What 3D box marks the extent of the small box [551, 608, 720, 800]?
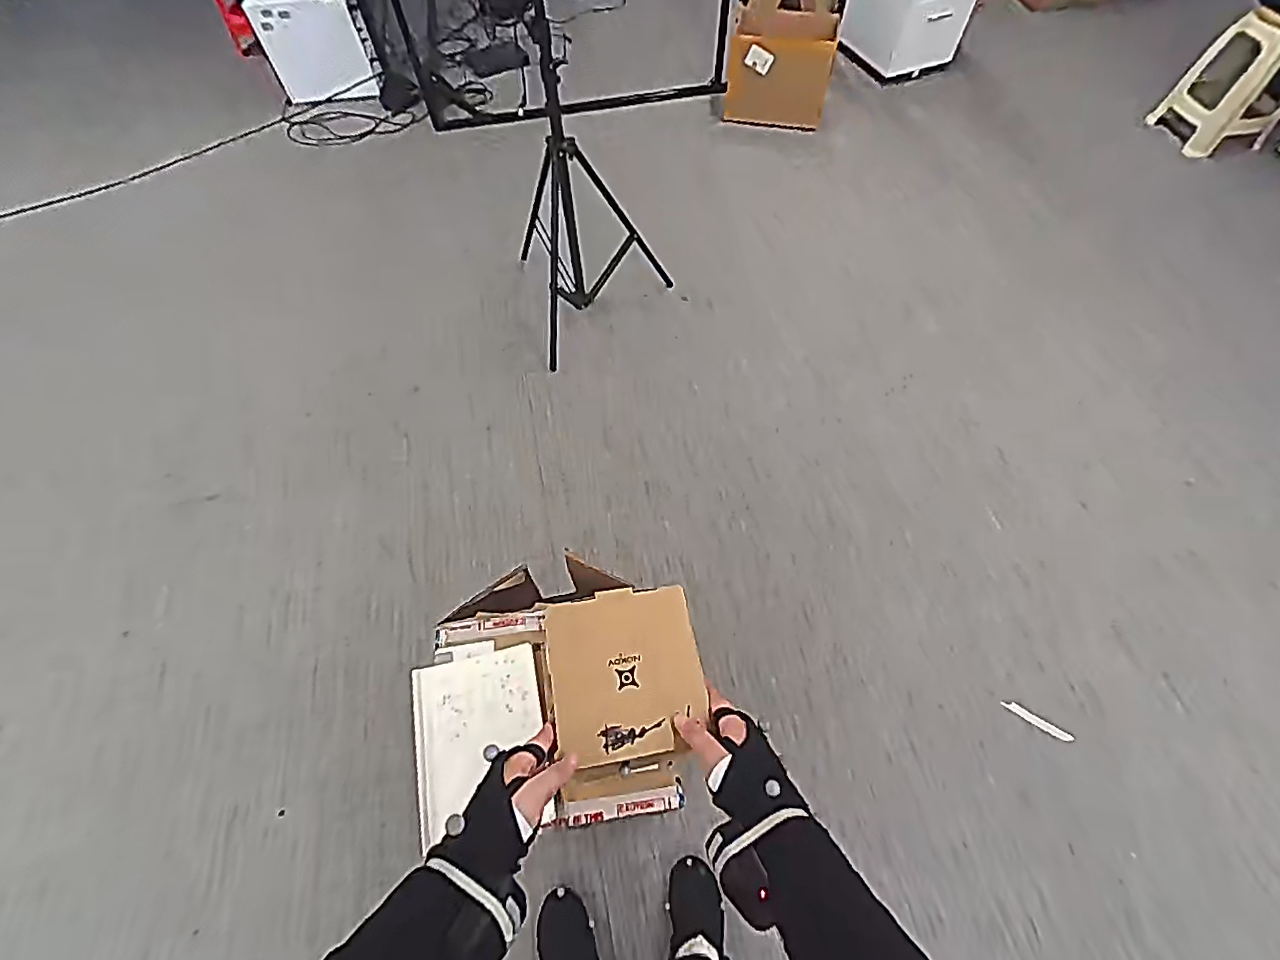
[{"bbox_3d":[-0.015,0.275,0.657,0.168,0.176,0.179,-8,60,-7],"label":"small box"}]
